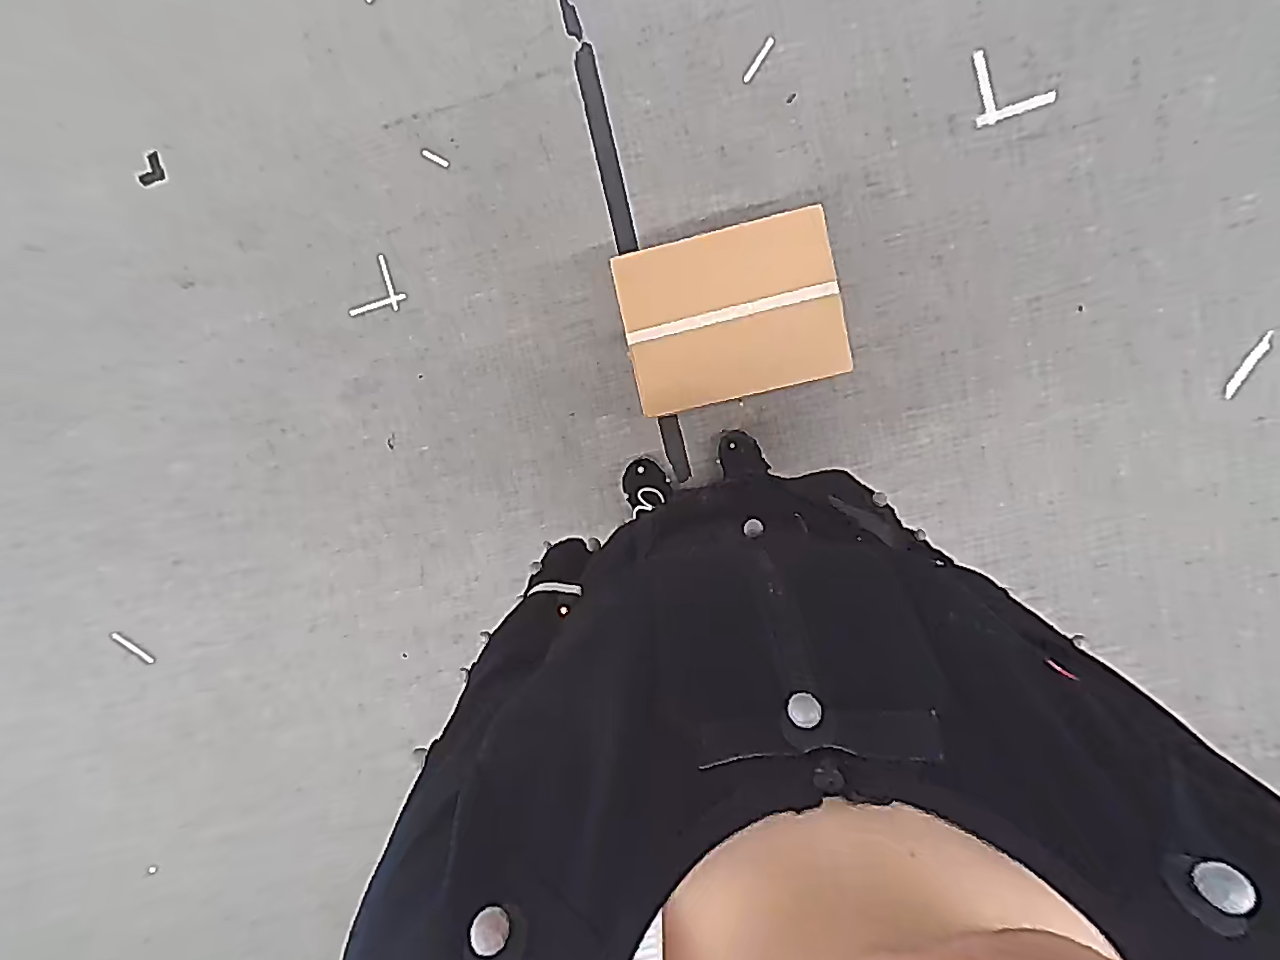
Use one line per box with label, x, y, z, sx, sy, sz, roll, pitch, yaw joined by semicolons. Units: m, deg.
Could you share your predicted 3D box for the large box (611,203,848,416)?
large box;0.180;-0.335;1.175;0.408;0.320;0.320;-12;96;5
